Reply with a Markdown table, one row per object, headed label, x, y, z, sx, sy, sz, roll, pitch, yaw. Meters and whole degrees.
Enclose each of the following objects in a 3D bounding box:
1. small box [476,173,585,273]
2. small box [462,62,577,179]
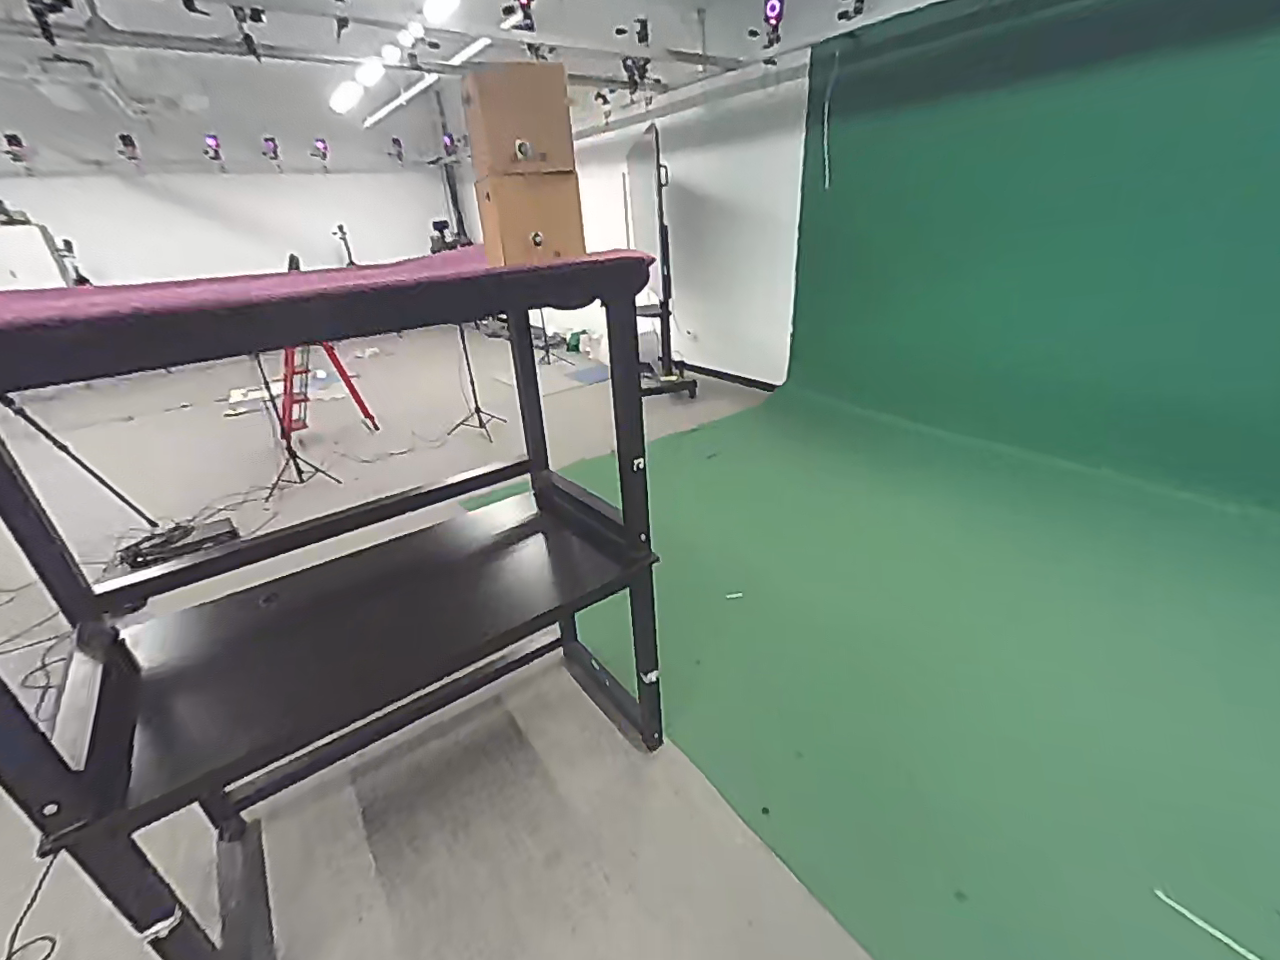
| label | x | y | z | sx | sy | sz | roll | pitch | yaw |
| --- | --- | --- | --- | --- | --- | --- | --- | --- | --- |
| small box | -0.220 | -0.512 | 1.083 | 0.168 | 0.176 | 0.179 | -15 | 30 | -22 |
| small box | -0.224 | -0.654 | 1.004 | 0.168 | 0.176 | 0.179 | -15 | 30 | -18 |
